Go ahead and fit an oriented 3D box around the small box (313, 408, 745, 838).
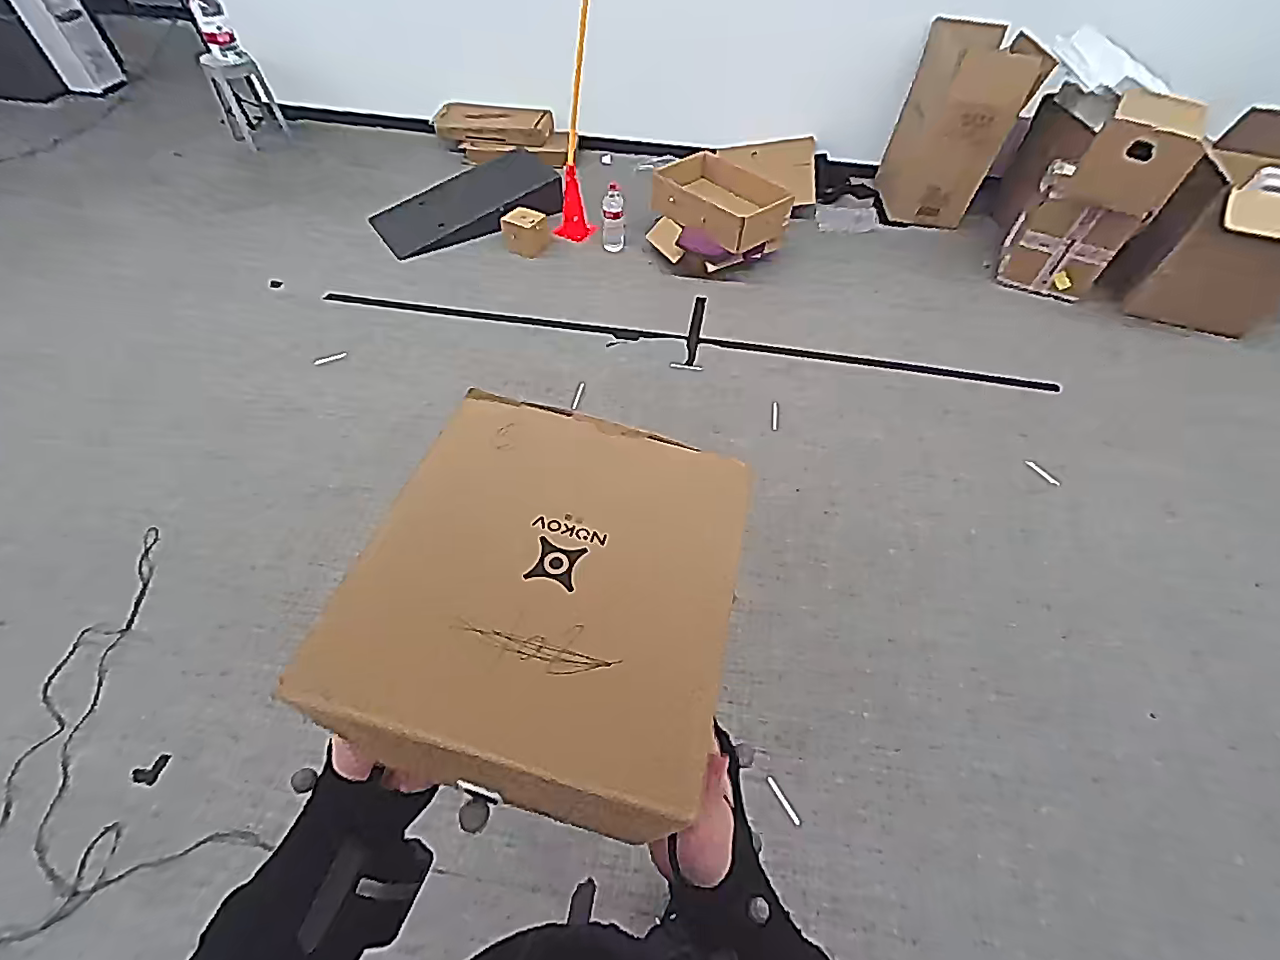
[{"bbox_3d":[-0.046,0.091,0.324,0.168,0.176,0.179,13,53,1],"label":"small box"}]
